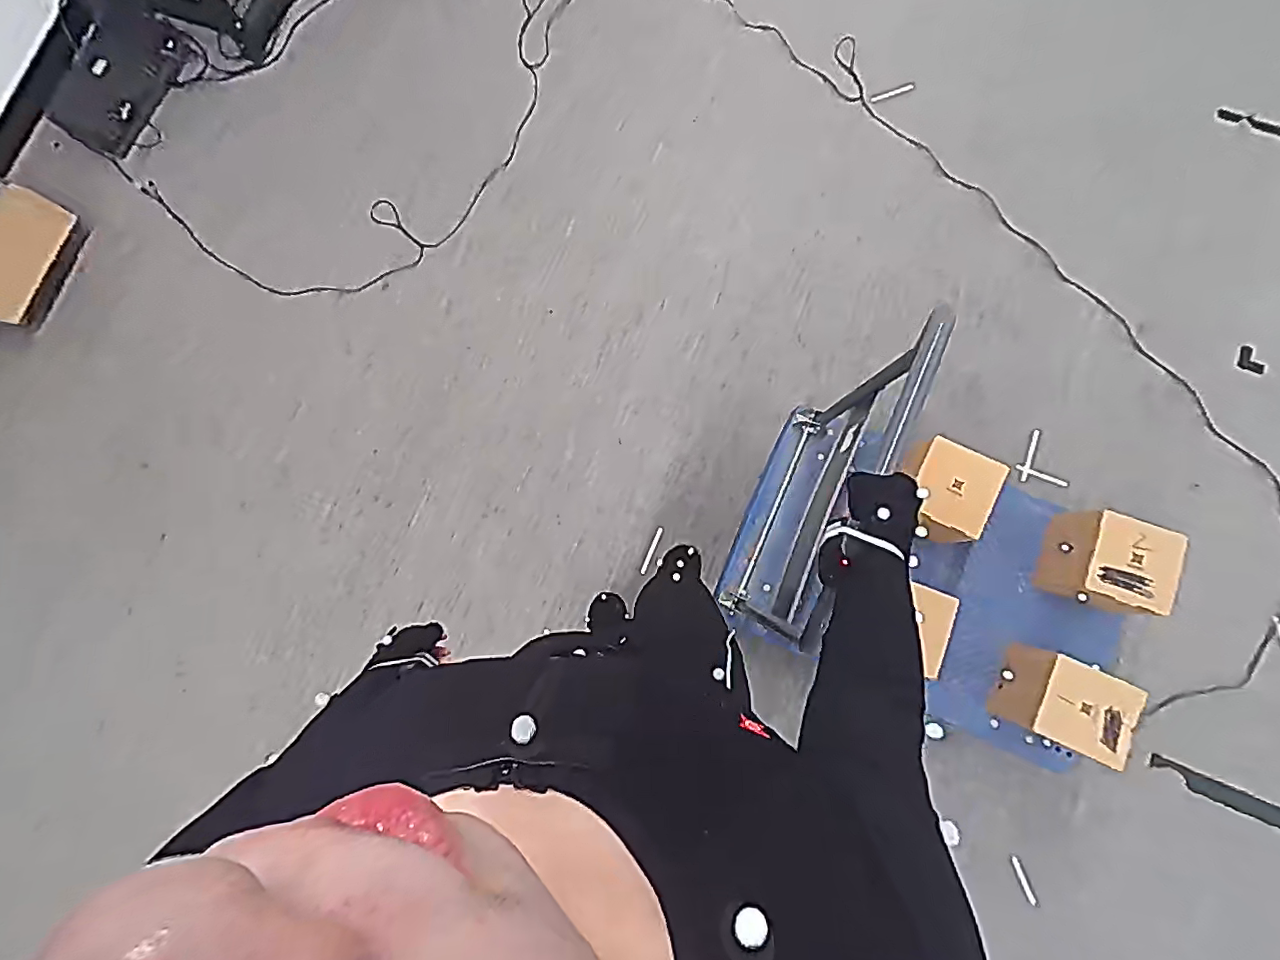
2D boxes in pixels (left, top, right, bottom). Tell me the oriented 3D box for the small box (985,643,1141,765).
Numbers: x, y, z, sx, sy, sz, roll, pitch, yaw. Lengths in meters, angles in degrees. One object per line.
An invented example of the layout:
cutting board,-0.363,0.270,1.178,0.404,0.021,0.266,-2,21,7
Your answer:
small box,0.889,0.463,1.152,0.179,0.176,0.168,24,83,8

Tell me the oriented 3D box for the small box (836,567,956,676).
small box,0.555,0.303,1.196,0.168,0.176,0.179,21,83,6

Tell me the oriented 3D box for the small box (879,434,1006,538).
small box,0.678,0.021,1.235,0.168,0.176,0.179,26,85,7
